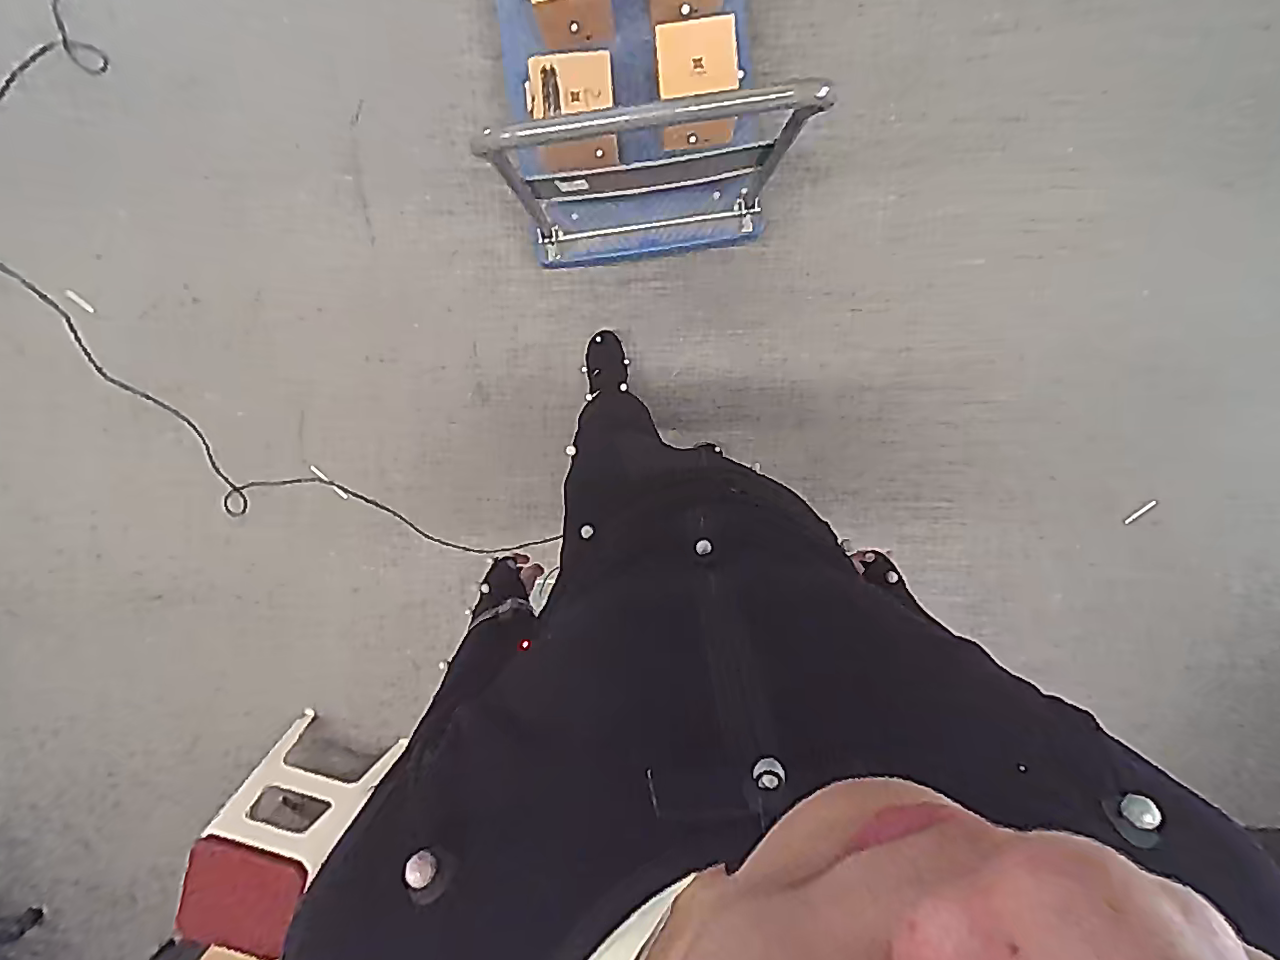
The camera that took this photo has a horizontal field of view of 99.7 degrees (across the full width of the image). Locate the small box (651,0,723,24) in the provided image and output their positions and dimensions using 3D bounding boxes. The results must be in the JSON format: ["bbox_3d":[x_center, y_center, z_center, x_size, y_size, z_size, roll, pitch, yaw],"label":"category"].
[{"bbox_3d":[0.095,-1.154,1.177,0.168,0.176,0.179,-10,100,5],"label":"small box"}]

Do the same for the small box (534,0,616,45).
[{"bbox_3d":[-0.152,-1.107,1.194,0.168,0.176,0.179,-10,98,3],"label":"small box"}]

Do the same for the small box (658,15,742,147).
[{"bbox_3d":[0.130,-0.889,1.220,0.168,0.176,0.179,-6,99,3],"label":"small box"}]
